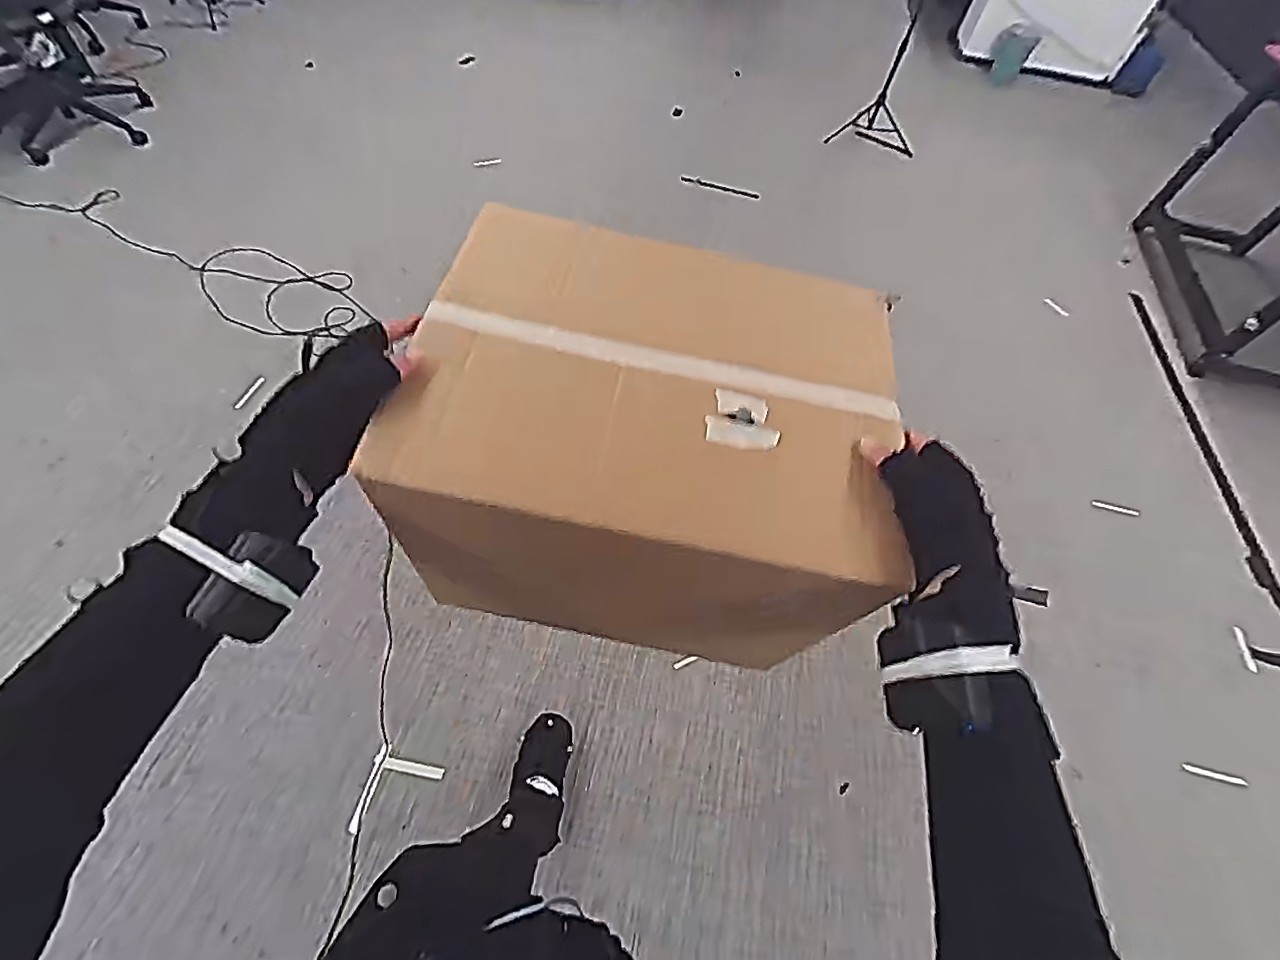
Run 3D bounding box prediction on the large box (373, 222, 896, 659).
[{"bbox_3d":[-0.001,-0.019,0.599,0.408,0.320,0.320,12,60,-3],"label":"large box"}]
